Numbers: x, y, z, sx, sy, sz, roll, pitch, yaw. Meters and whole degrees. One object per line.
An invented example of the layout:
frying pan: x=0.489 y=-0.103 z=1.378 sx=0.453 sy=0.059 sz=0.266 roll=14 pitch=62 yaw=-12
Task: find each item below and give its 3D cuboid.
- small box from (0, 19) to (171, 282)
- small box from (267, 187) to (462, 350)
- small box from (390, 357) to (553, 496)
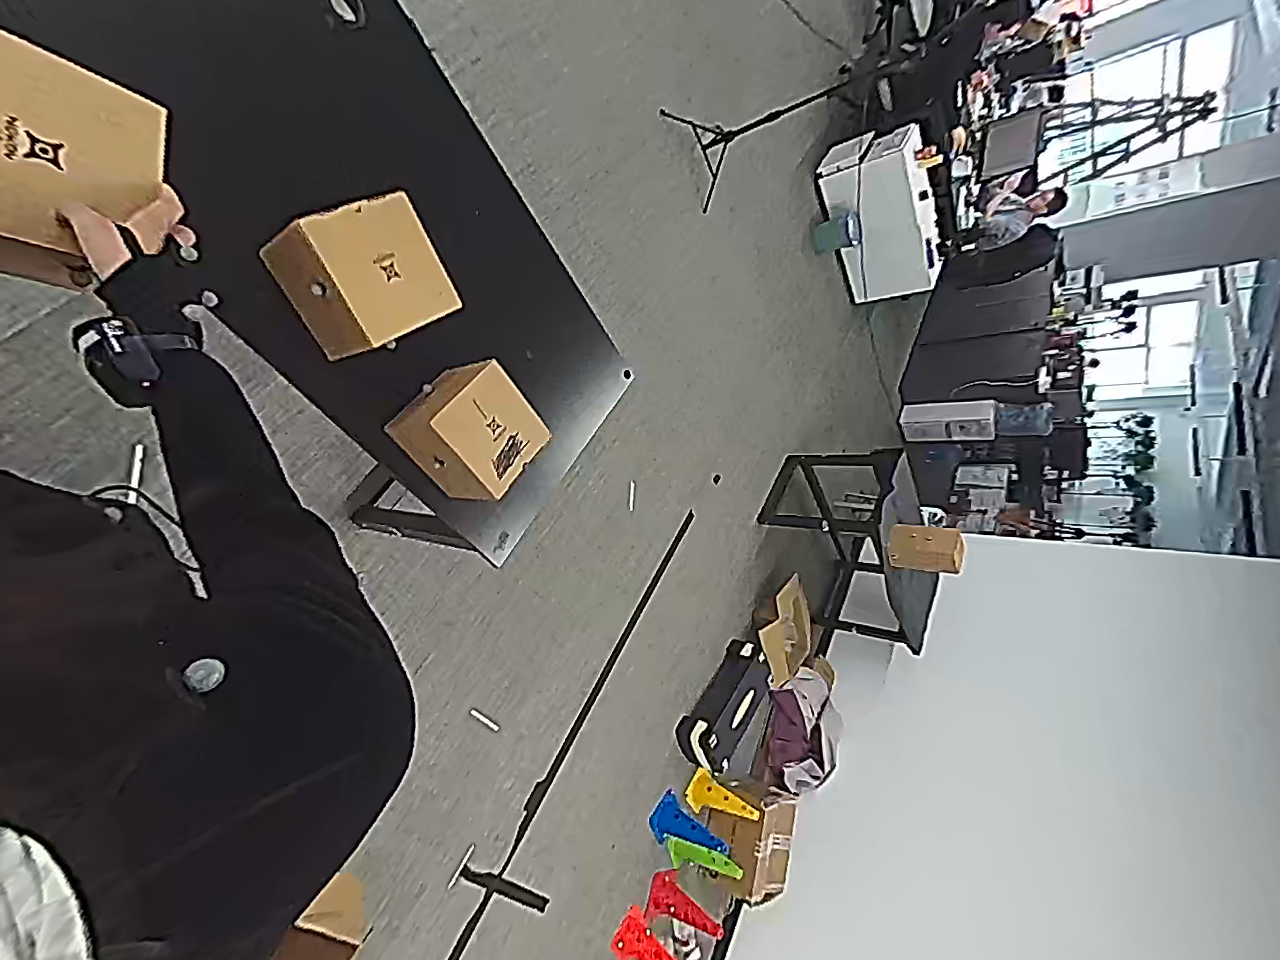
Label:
small box: x=-0.572 y=-0.292 z=0.494 sx=0.179 sy=0.176 sz=0.168 roll=2 pitch=92 yaw=-56
small box: x=-0.412 y=-0.307 z=0.816 sx=0.168 sy=0.176 sz=0.179 roll=-46 pitch=123 yaw=-37
small box: x=-0.295 y=-0.092 z=0.953 sx=0.179 sy=0.176 sz=0.168 roll=55 pitch=53 yaw=-32
